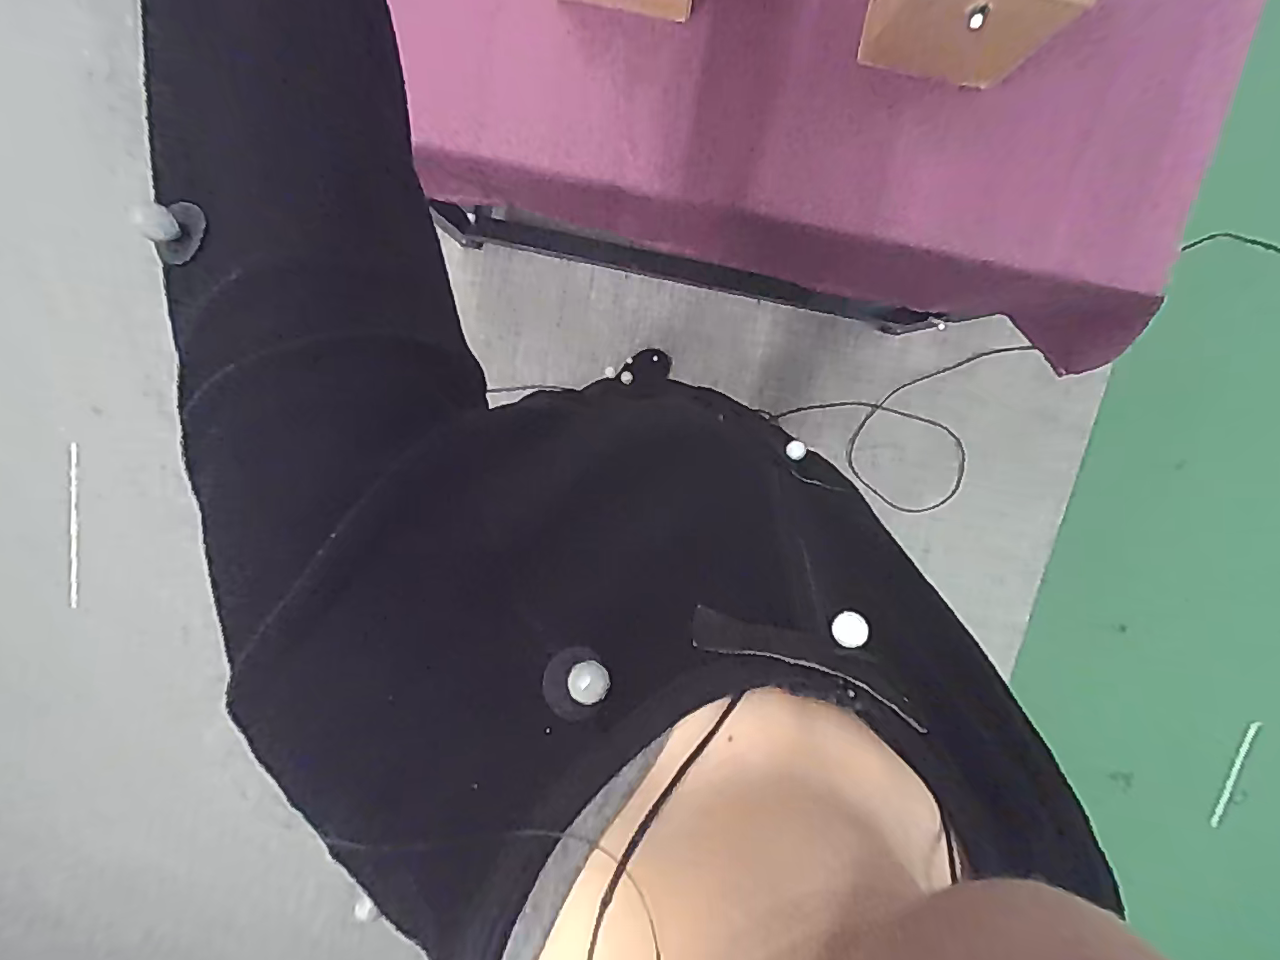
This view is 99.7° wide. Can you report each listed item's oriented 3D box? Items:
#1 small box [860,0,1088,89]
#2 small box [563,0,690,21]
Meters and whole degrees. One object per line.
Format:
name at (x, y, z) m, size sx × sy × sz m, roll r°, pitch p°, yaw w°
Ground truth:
small box at (0.369, -0.569, 0.590) m, size 0.179 × 0.176 × 0.168 m, roll 11°, pitch 100°, yaw -2°
small box at (-0.016, -0.644, 0.580) m, size 0.179 × 0.176 × 0.168 m, roll 8°, pitch 99°, yaw -2°
